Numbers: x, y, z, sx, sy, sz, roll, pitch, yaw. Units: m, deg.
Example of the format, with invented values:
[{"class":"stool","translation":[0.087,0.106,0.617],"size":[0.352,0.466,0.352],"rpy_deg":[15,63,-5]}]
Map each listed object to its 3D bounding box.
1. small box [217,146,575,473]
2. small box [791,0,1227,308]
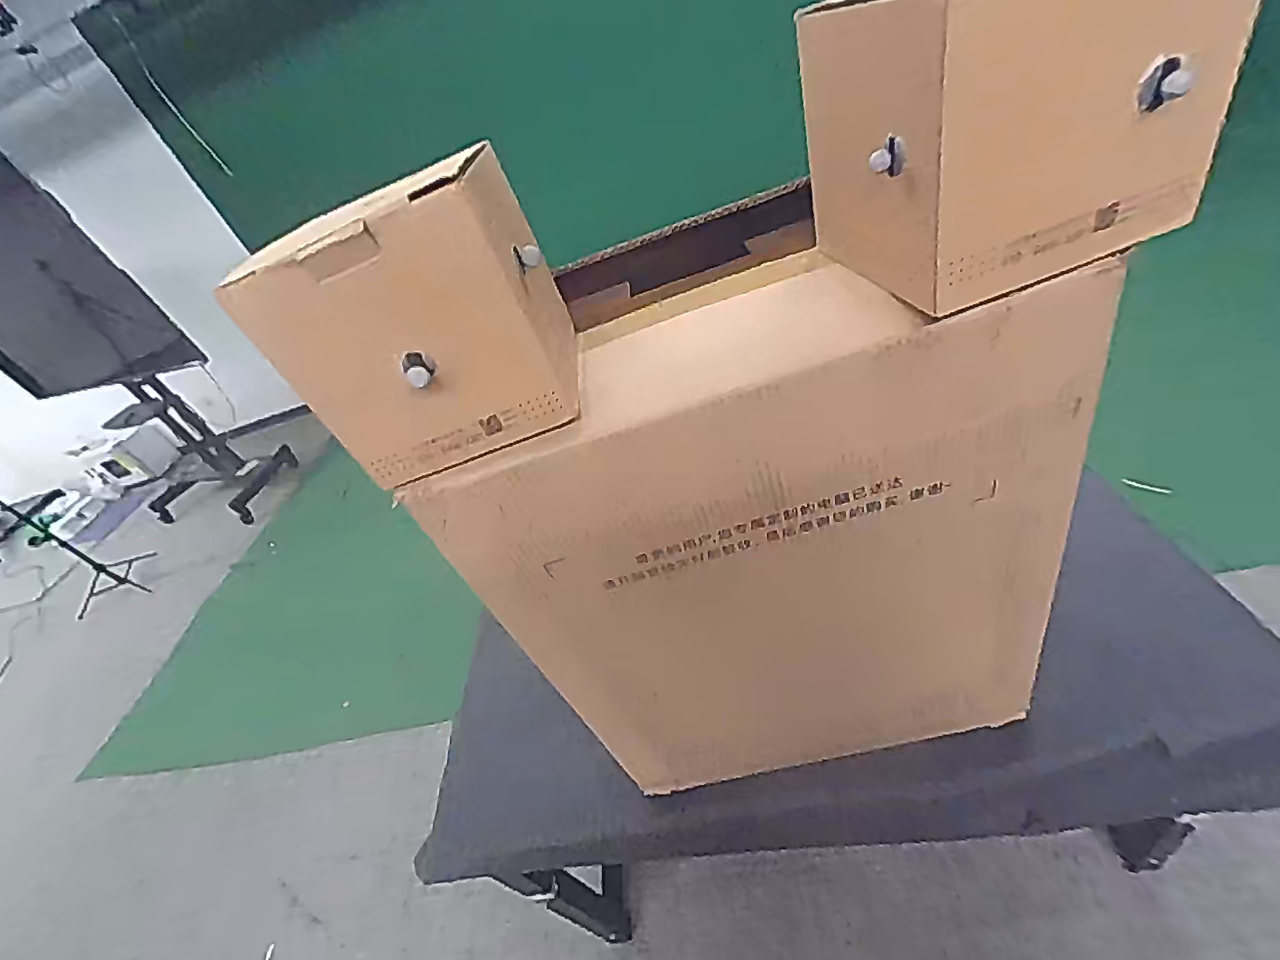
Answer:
[{"class":"small box","translation":[-0.158,-0.125,0.422],"size":[0.168,0.176,0.179],"rpy_deg":[-20,39,7]},{"class":"small box","translation":[0.218,-0.233,0.354],"size":[0.168,0.176,0.179],"rpy_deg":[-19,37,2]}]
